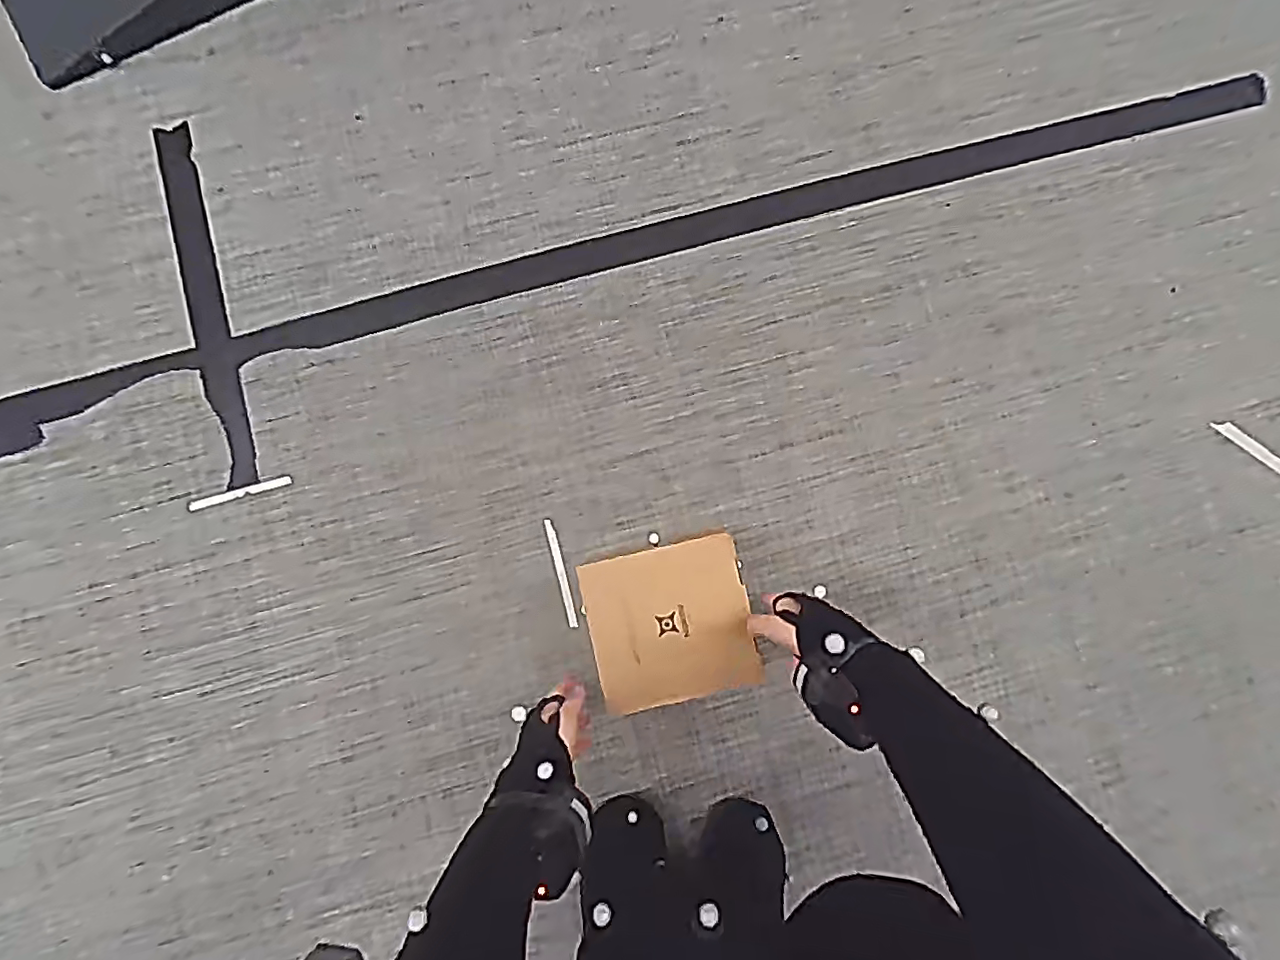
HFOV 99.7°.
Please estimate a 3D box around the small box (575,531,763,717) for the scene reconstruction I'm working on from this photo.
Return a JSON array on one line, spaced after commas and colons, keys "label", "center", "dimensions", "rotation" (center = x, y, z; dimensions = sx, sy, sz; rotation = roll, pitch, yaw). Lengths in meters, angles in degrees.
[{"label": "small box", "center": [0.027, 0.157, 0.650], "dimensions": [0.179, 0.176, 0.168], "rotation": [-12, 86, -2]}]
